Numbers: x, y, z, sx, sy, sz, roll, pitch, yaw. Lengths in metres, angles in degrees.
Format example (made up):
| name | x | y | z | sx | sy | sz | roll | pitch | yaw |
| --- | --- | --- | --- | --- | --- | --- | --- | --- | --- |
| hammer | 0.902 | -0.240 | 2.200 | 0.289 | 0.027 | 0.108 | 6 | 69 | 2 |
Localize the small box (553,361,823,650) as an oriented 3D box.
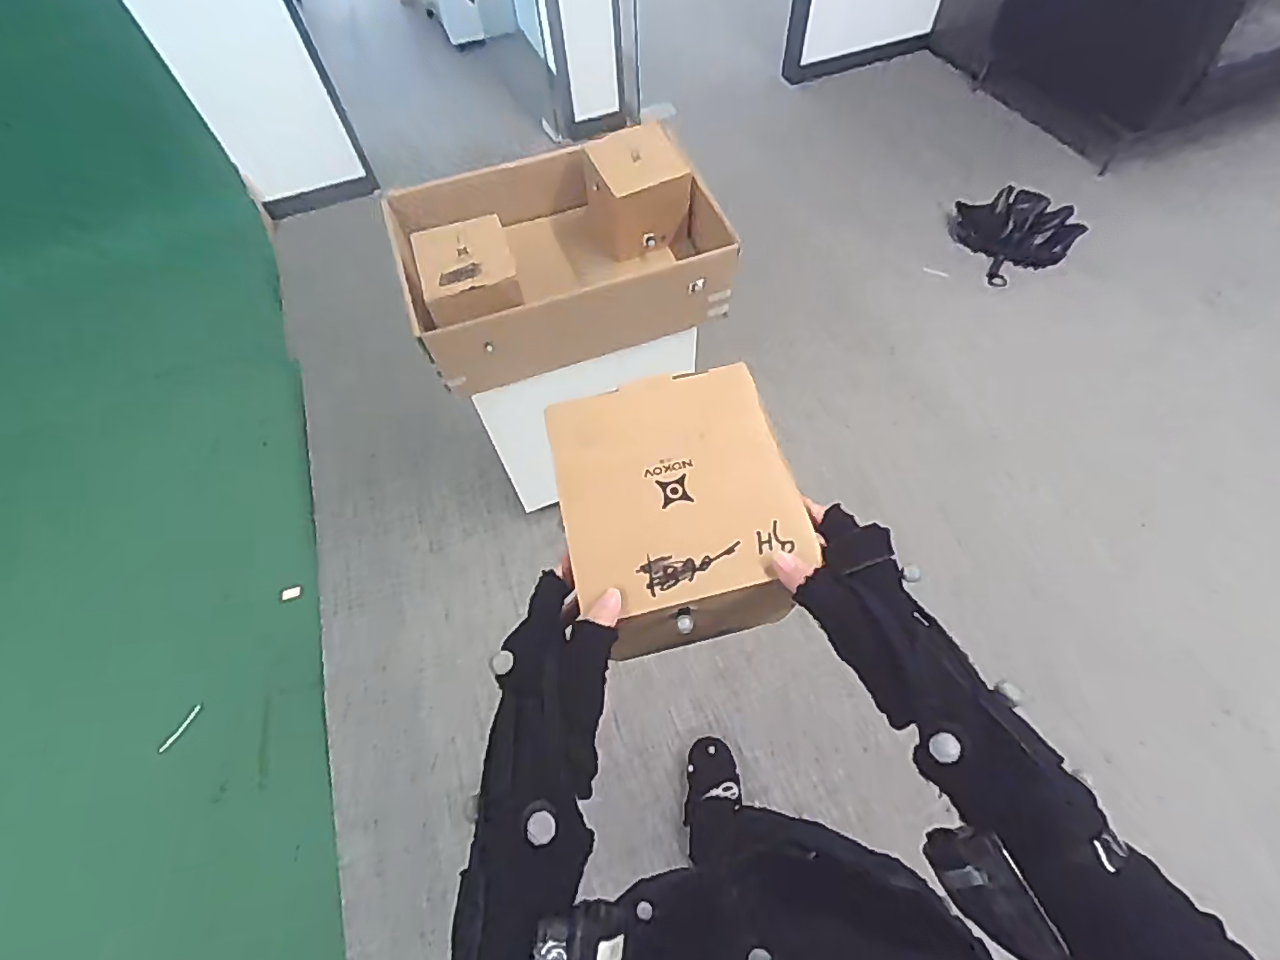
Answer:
| name | x | y | z | sx | sy | sz | roll | pitch | yaw |
| --- | --- | --- | --- | --- | --- | --- | --- | --- | --- |
| small box | 0.032 | 0.031 | 0.466 | 0.168 | 0.176 | 0.179 | -14 | 64 | -1 |
